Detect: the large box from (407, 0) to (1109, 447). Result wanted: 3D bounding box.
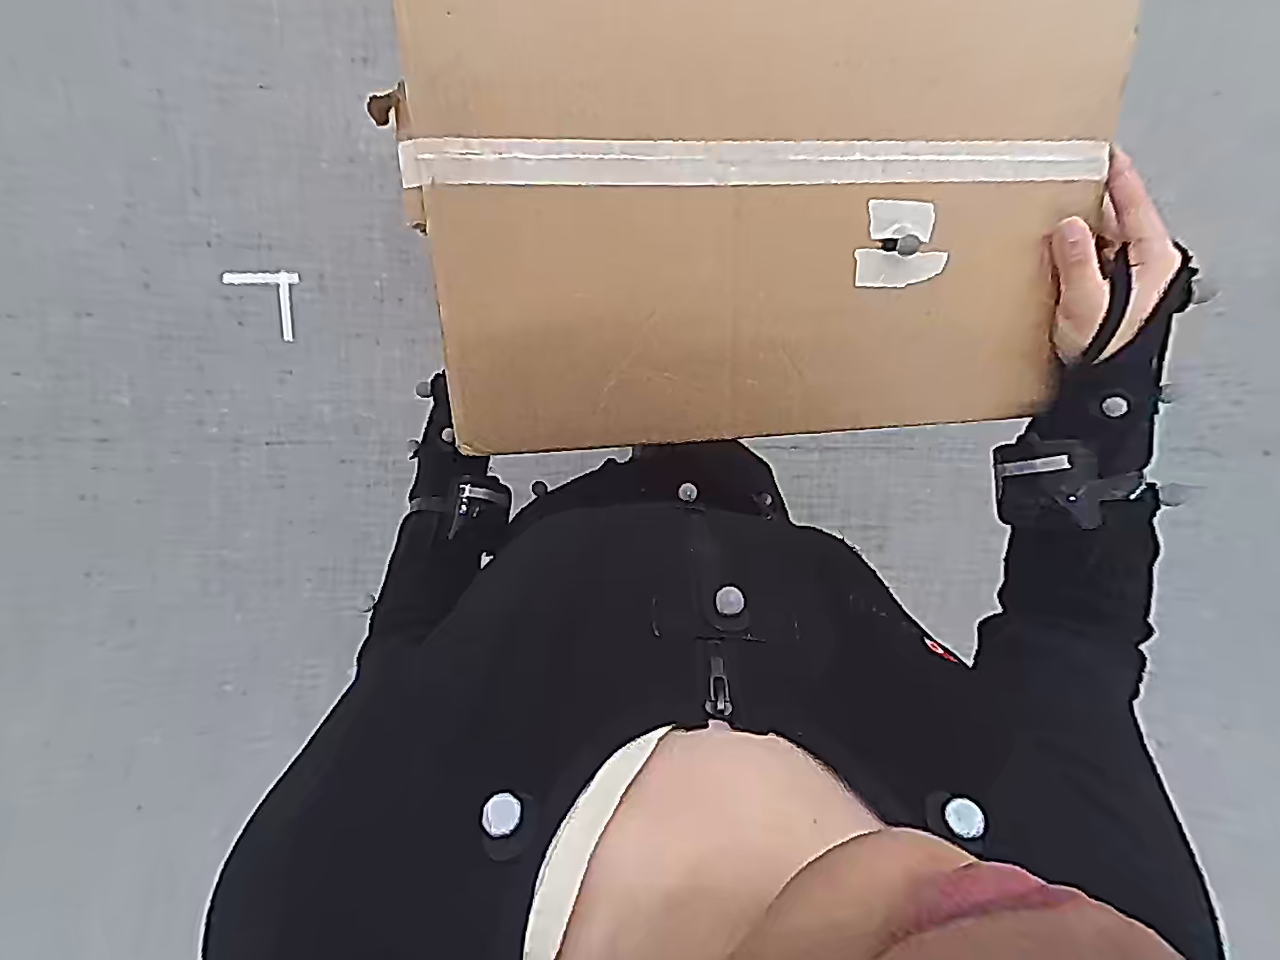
[{"bbox_3d":[0.057,-0.227,0.455,0.408,0.320,0.320,-5,108,-9],"label":"large box"}]
